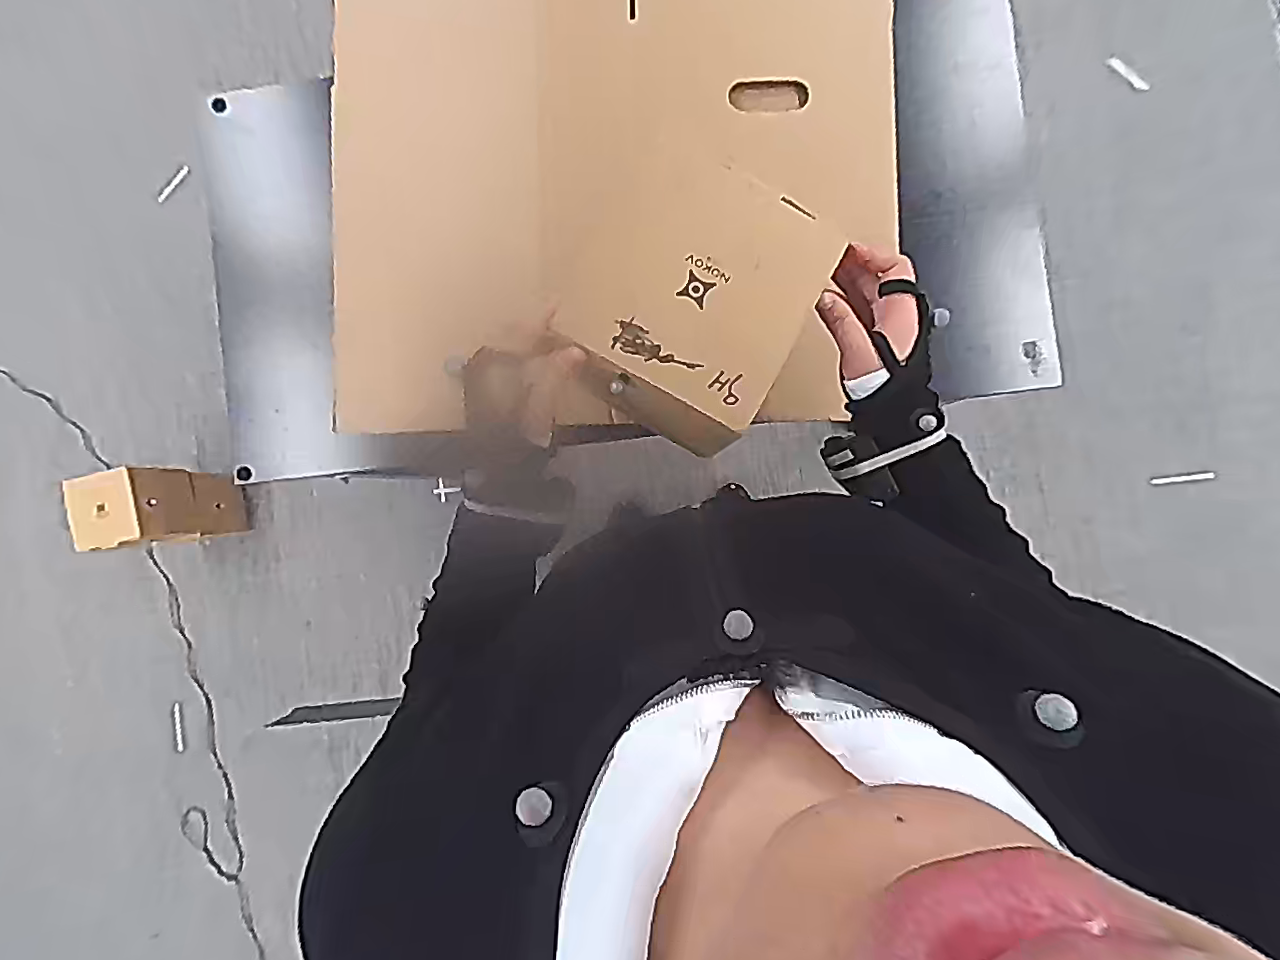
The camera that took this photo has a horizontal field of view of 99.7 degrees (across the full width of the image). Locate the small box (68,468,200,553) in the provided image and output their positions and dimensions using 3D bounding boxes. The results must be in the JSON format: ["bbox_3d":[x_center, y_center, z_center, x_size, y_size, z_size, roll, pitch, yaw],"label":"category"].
[{"bbox_3d":[-1.248,0.074,1.348,0.168,0.176,0.179,-14,87,2],"label":"small box"}]

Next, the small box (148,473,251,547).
[{"bbox_3d":[-1.235,0.083,1.510,0.168,0.176,0.179,-11,89,3],"label":"small box"}]
